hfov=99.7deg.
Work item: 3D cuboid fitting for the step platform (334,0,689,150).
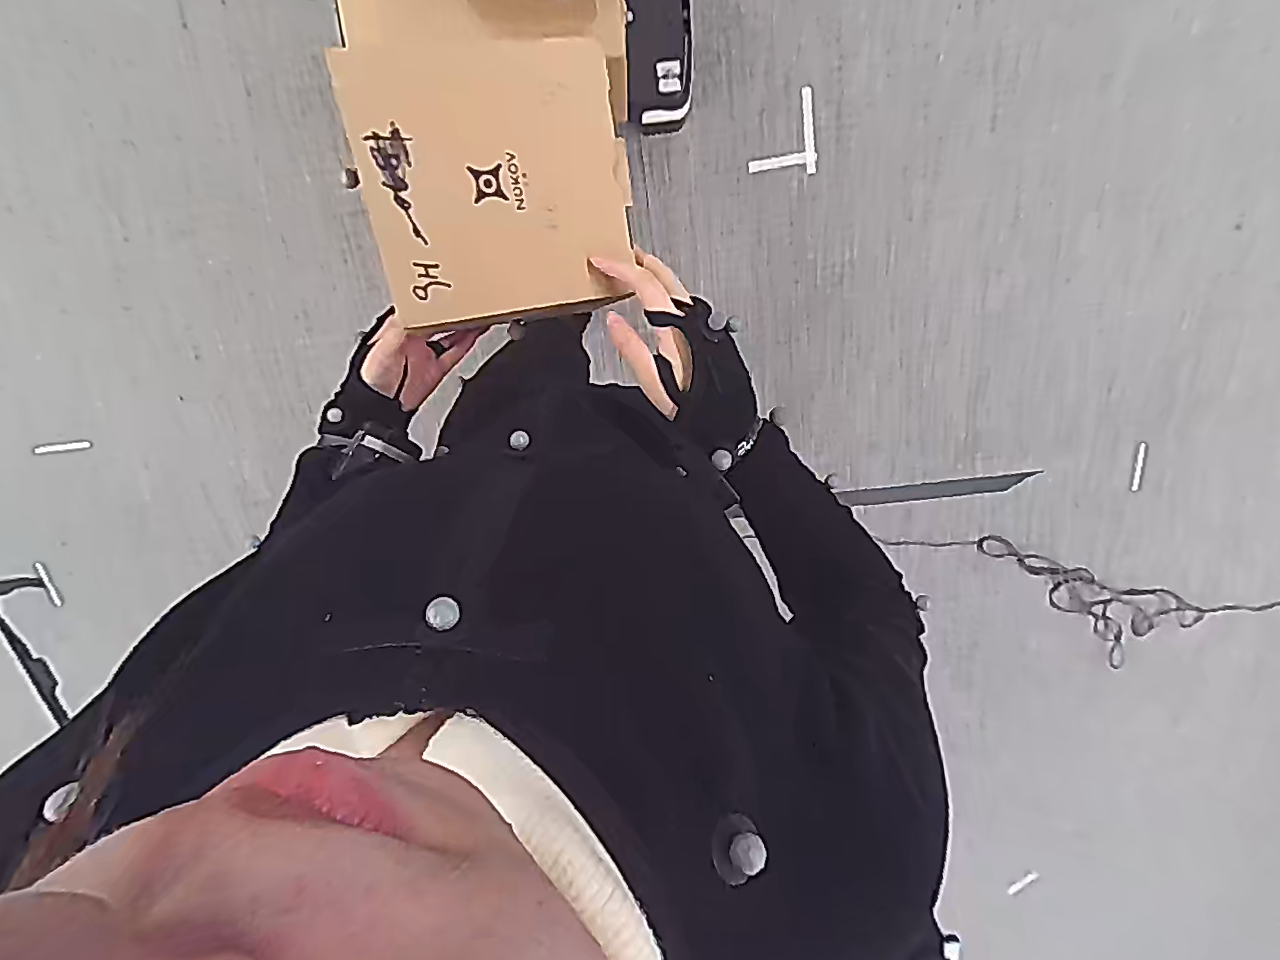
[{"bbox_3d":[-0.242,-0.856,1.103,0.684,0.204,0.286,-1,108,1],"label":"step platform"}]

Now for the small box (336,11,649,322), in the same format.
[{"bbox_3d":[-0.109,-0.223,0.427,0.179,0.176,0.168,-12,105,-15],"label":"small box"}]

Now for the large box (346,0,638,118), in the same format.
[{"bbox_3d":[-0.215,-0.788,0.875,0.408,0.320,0.320,-2,107,2],"label":"large box"}]
